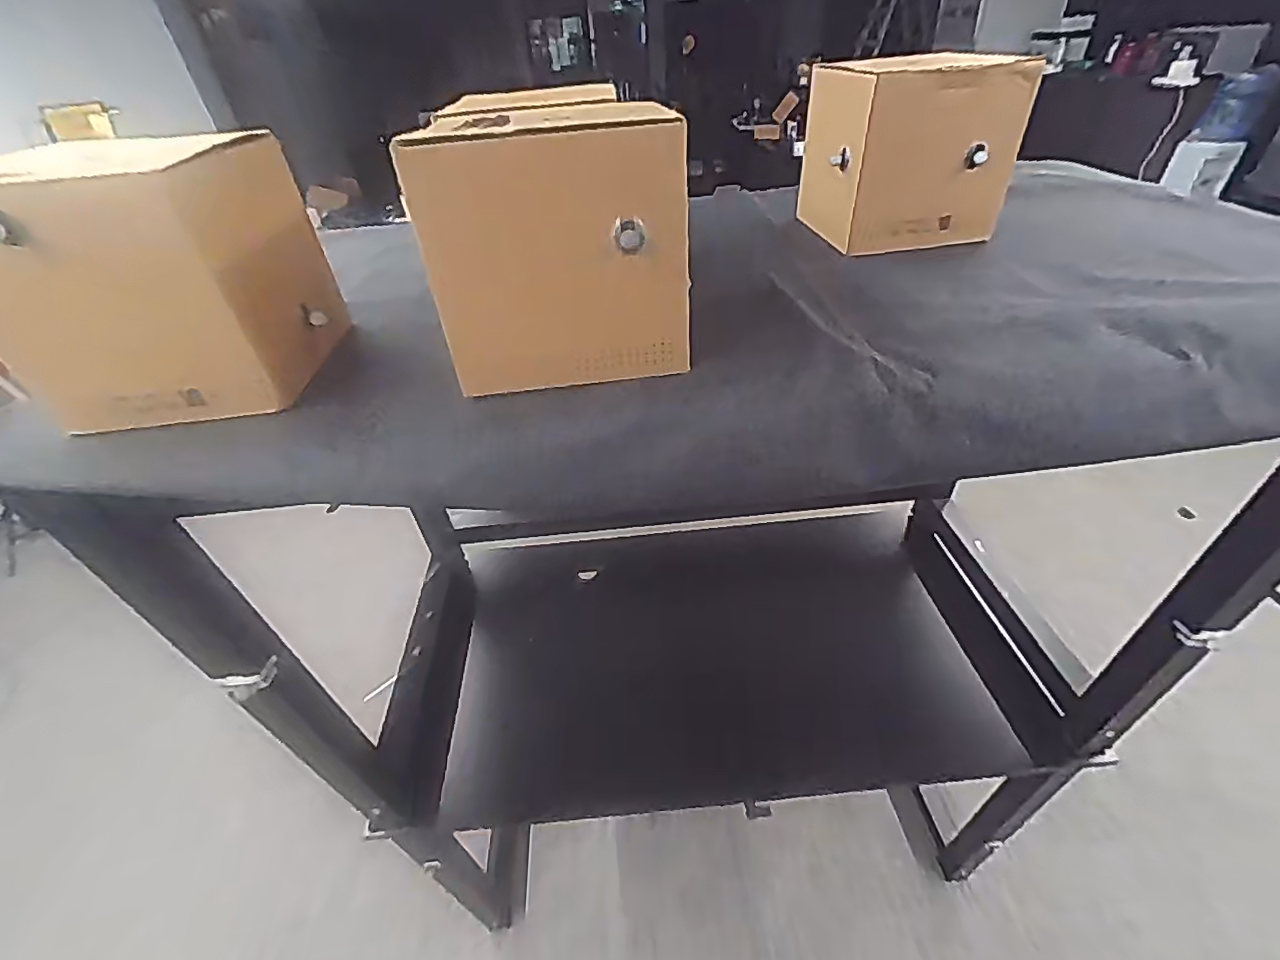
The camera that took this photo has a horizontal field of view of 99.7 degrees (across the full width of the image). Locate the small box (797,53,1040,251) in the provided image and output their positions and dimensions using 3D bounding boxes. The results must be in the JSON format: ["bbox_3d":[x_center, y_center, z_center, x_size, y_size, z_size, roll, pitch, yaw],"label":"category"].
[{"bbox_3d":[0.292,-0.369,0.616,0.168,0.176,0.179,-7,40,-2],"label":"small box"}]

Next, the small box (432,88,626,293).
[{"bbox_3d":[-0.107,-0.328,0.614,0.179,0.176,0.168,-6,40,0],"label":"small box"}]

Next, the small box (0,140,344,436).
[{"bbox_3d":[-0.365,-0.155,0.427,0.168,0.176,0.179,-8,39,-2],"label":"small box"}]
